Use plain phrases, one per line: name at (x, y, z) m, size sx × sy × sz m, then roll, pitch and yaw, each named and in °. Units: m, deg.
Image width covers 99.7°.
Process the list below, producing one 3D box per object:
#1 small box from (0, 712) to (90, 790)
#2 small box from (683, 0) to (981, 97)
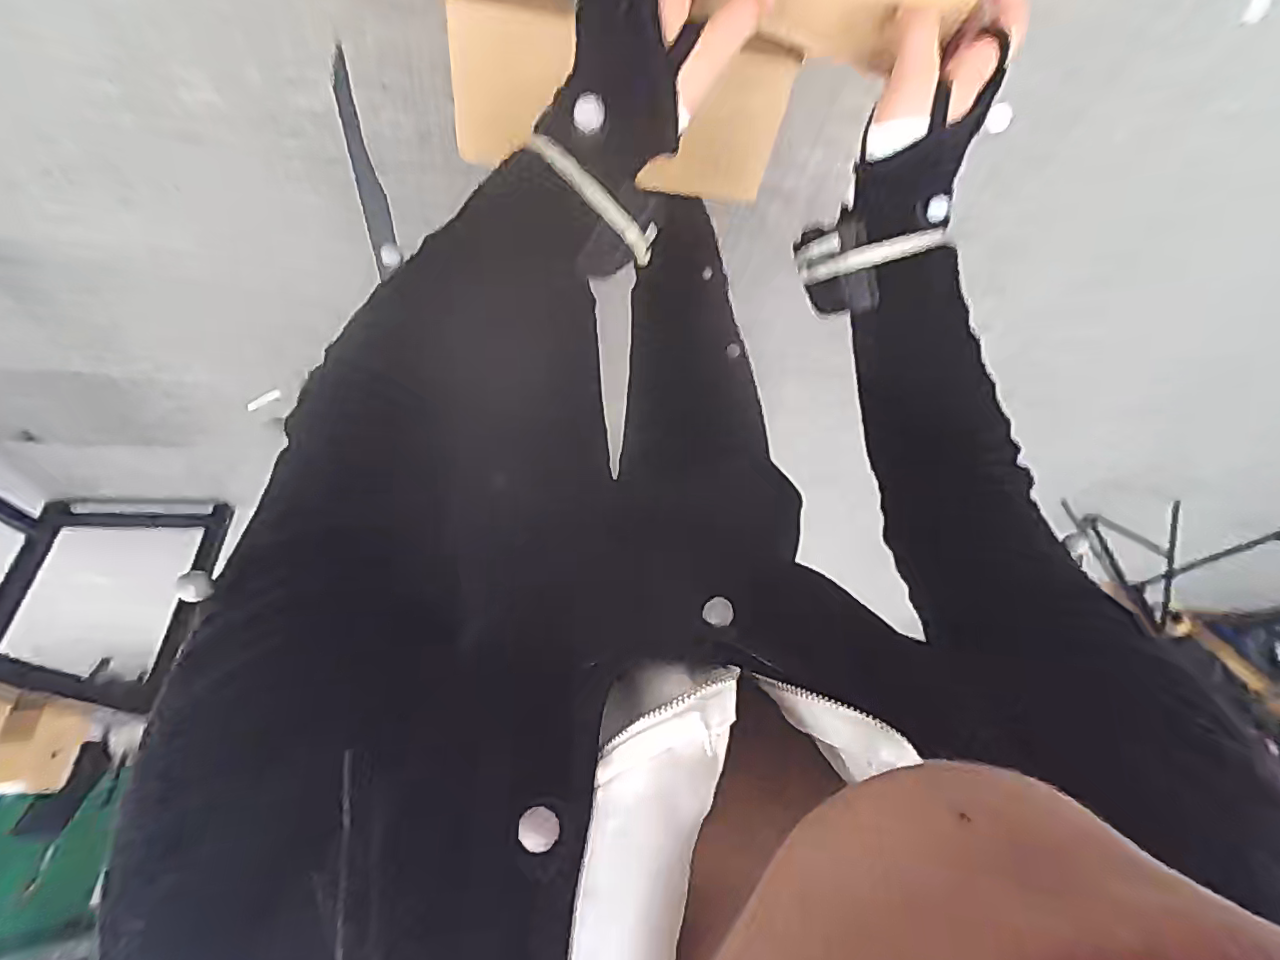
small box at (-1.592, 0.696, 1.388) m, size 0.168 × 0.176 × 0.179 m, roll 1°, pitch 149°, yaw -9°
small box at (0.129, -0.380, 0.314) m, size 0.179 × 0.176 × 0.168 m, roll 6°, pitch 155°, yaw -19°
